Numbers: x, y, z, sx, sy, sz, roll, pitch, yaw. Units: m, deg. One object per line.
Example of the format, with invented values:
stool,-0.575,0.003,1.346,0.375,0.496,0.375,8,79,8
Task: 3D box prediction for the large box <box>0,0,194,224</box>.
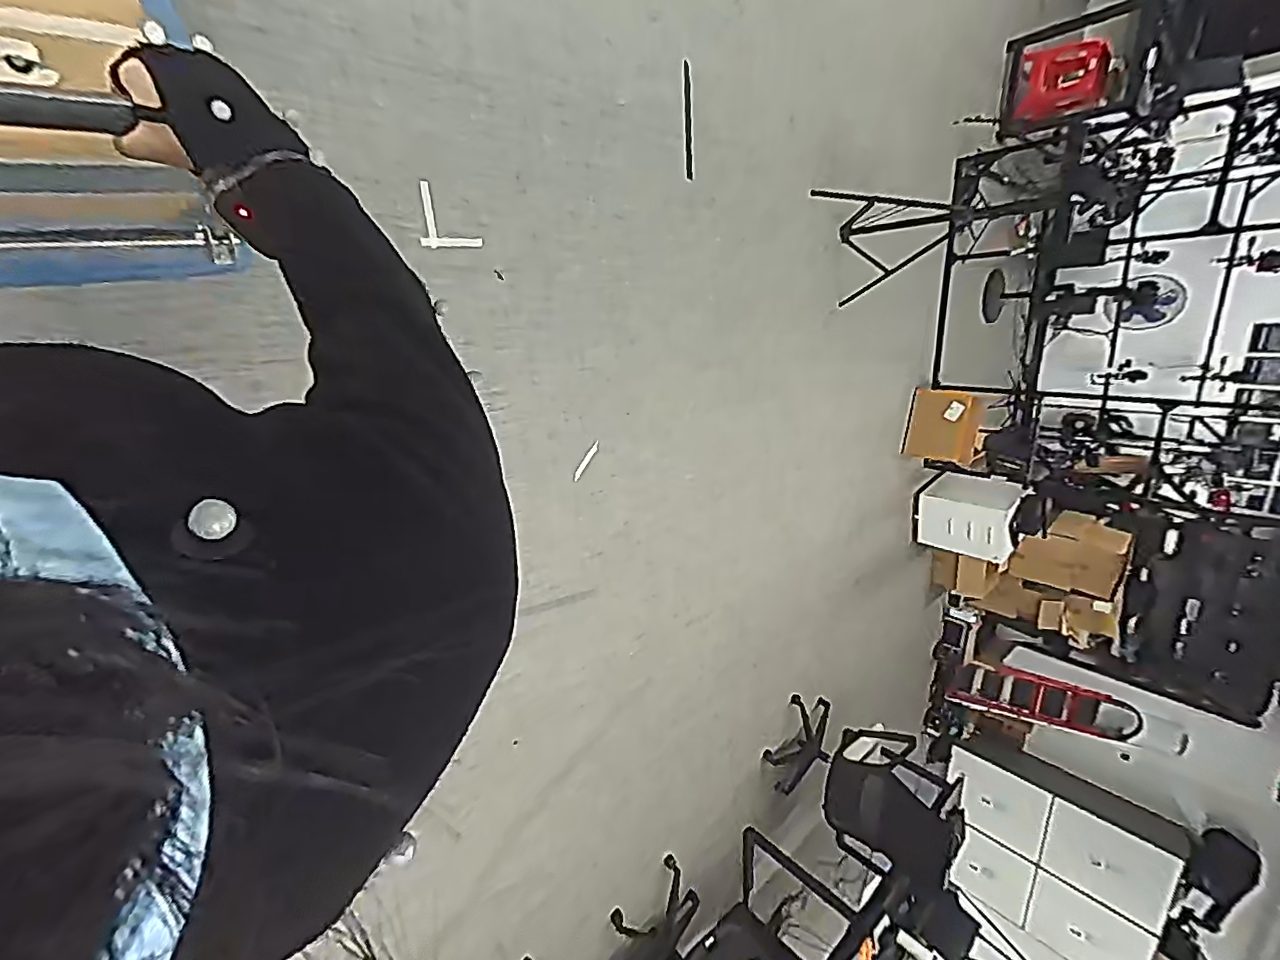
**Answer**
large box,-0.873,-0.513,0.677,0.408,0.320,0.320,-22,115,-39
